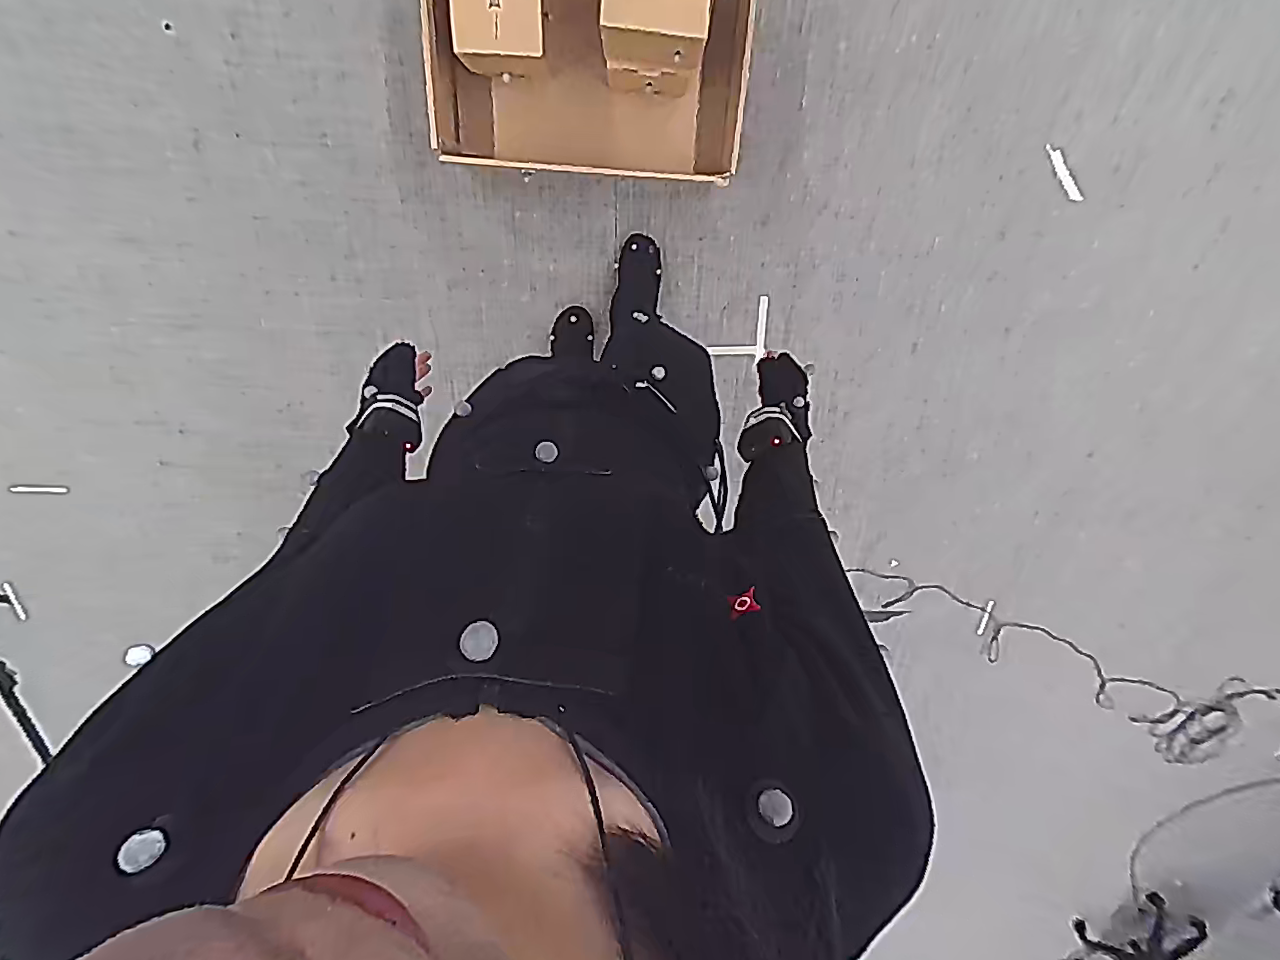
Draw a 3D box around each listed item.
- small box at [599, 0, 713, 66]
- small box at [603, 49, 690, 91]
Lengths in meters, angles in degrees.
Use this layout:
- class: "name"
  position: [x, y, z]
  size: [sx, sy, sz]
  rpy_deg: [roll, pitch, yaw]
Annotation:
- class: "small box"
  position: [0.029, -0.819, 0.901]
  size: [0.179, 0.176, 0.168]
  rpy_deg: [5, 112, -2]
- class: "small box"
  position: [0.022, -0.882, 1.053]
  size: [0.168, 0.176, 0.179]
  rpy_deg: [5, 115, -1]
